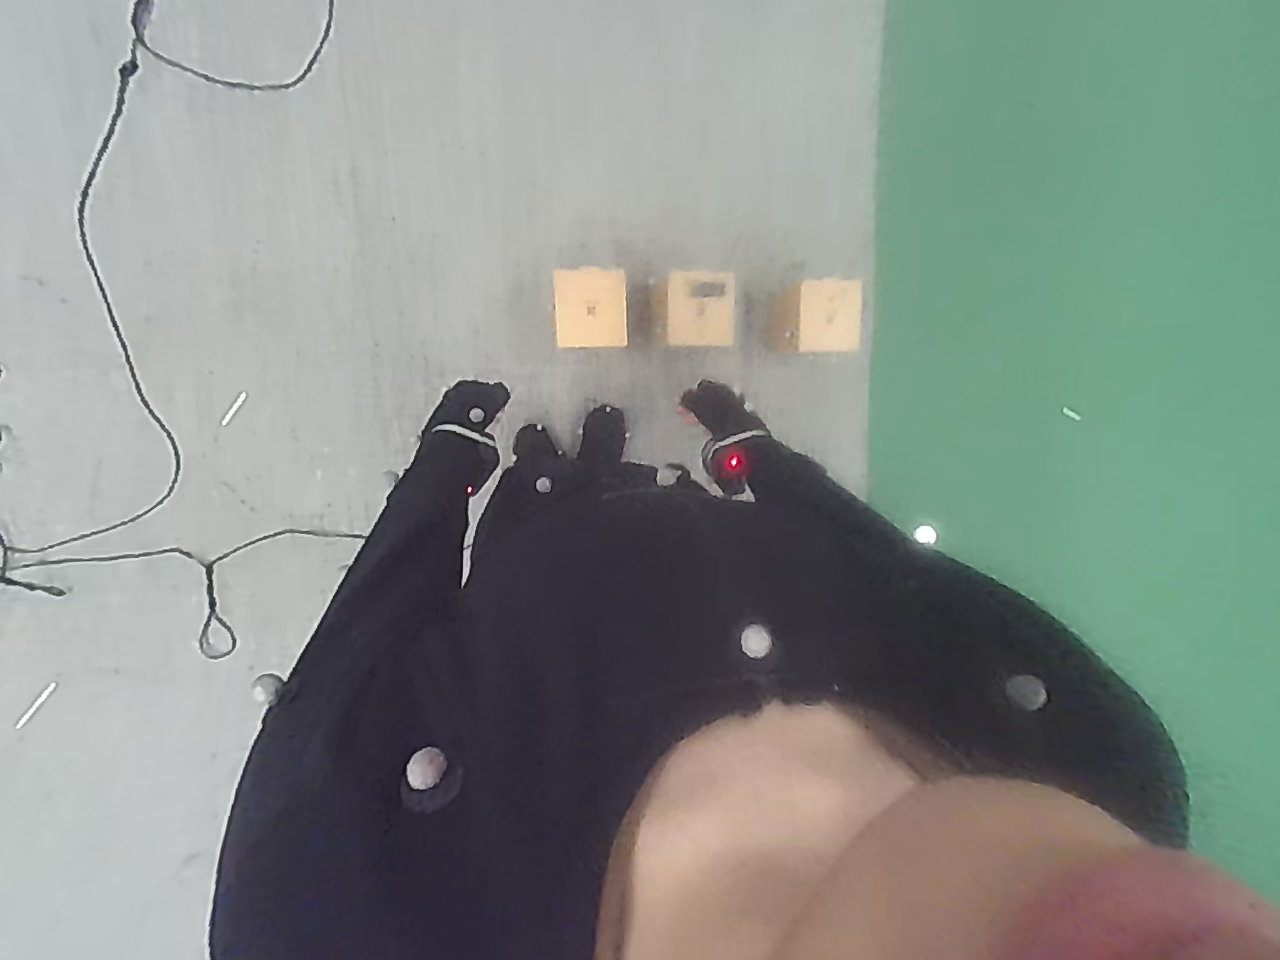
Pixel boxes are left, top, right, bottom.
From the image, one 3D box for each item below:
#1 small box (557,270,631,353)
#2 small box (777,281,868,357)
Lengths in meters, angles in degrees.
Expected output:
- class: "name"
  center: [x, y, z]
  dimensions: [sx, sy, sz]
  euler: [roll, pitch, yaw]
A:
- class: "small box"
  center: [-0.114, -0.402, 1.312]
  dimensions: [0.168, 0.176, 0.179]
  euler: [-3, 99, -9]
- class: "small box"
  center: [0.469, -0.412, 1.409]
  dimensions: [0.168, 0.176, 0.179]
  euler: [-3, 100, -10]
